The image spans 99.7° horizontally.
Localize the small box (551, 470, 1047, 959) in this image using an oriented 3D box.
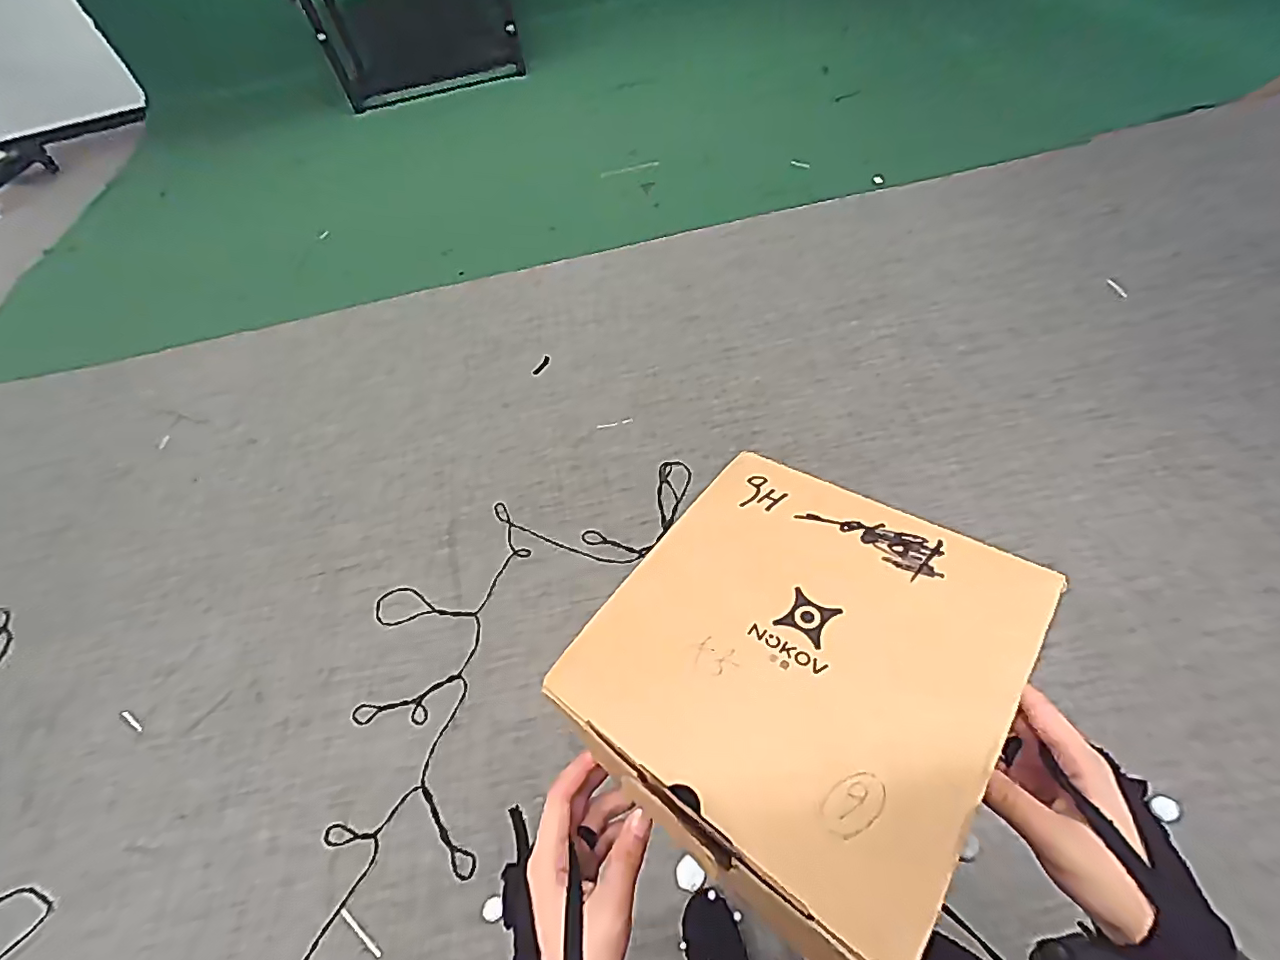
[{"bbox_3d":[0.086,0.132,0.307,0.168,0.176,0.179,26,59,32],"label":"small box"}]
